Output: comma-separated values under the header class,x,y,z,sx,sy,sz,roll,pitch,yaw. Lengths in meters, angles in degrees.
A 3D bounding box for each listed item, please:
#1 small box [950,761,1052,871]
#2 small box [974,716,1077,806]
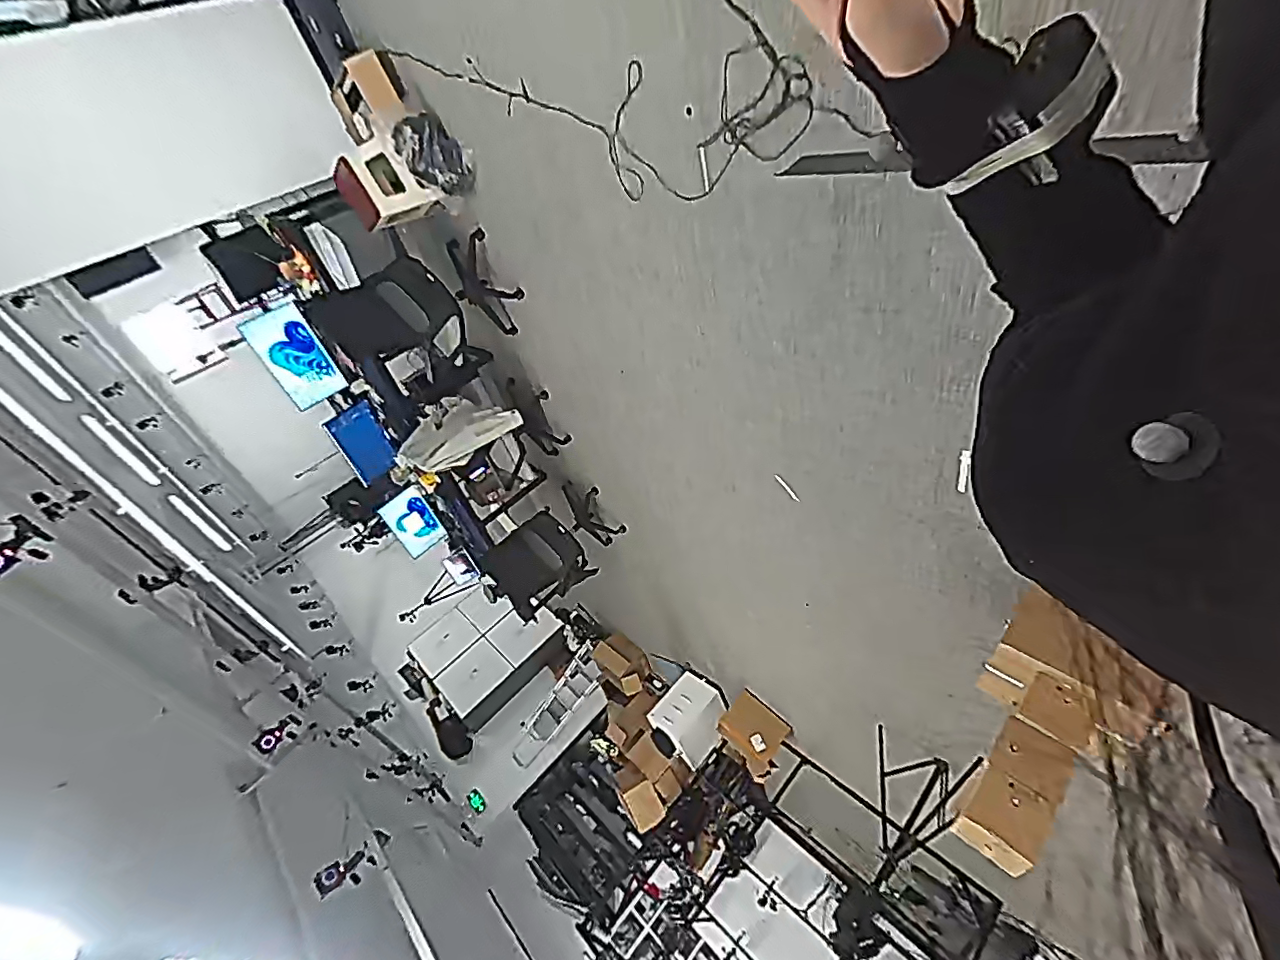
class,x,y,z,sx,sy,sz,roll,pitch,yaw
small box,0.981,0.909,1.470,0.168,0.176,0.179,29,149,36
small box,1.088,0.801,1.532,0.179,0.176,0.168,27,148,37
